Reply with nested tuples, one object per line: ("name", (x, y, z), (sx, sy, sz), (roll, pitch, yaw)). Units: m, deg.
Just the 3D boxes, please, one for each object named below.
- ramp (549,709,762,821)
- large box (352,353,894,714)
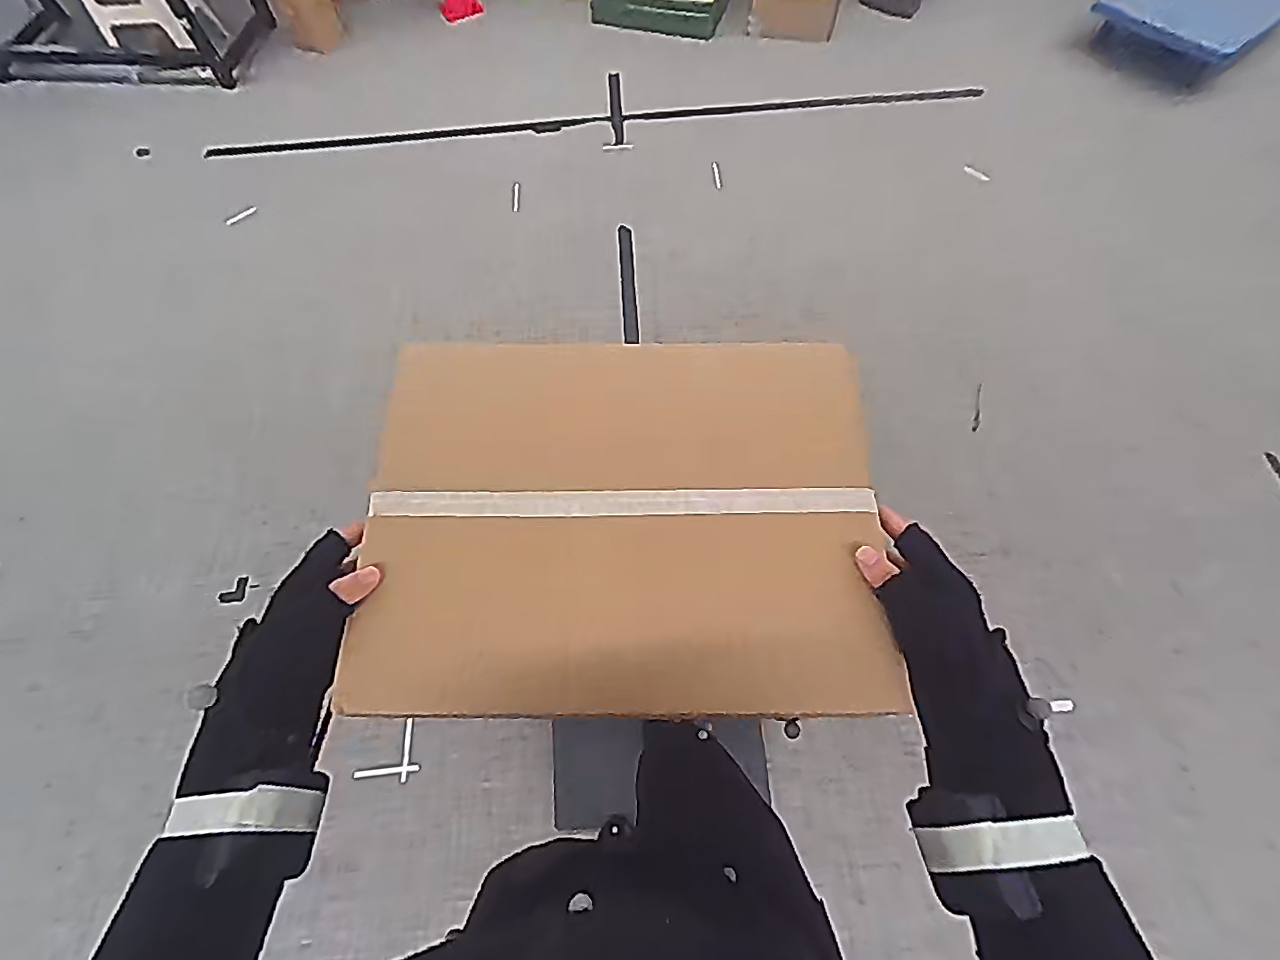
("ramp", (0.007, 0.277, 1.360), (0.509, 0.206, 0.991), (-5, 65, -3))
("large box", (-0.012, 0.080, 0.586), (0.408, 0.320, 0.320), (0, 66, -1))
